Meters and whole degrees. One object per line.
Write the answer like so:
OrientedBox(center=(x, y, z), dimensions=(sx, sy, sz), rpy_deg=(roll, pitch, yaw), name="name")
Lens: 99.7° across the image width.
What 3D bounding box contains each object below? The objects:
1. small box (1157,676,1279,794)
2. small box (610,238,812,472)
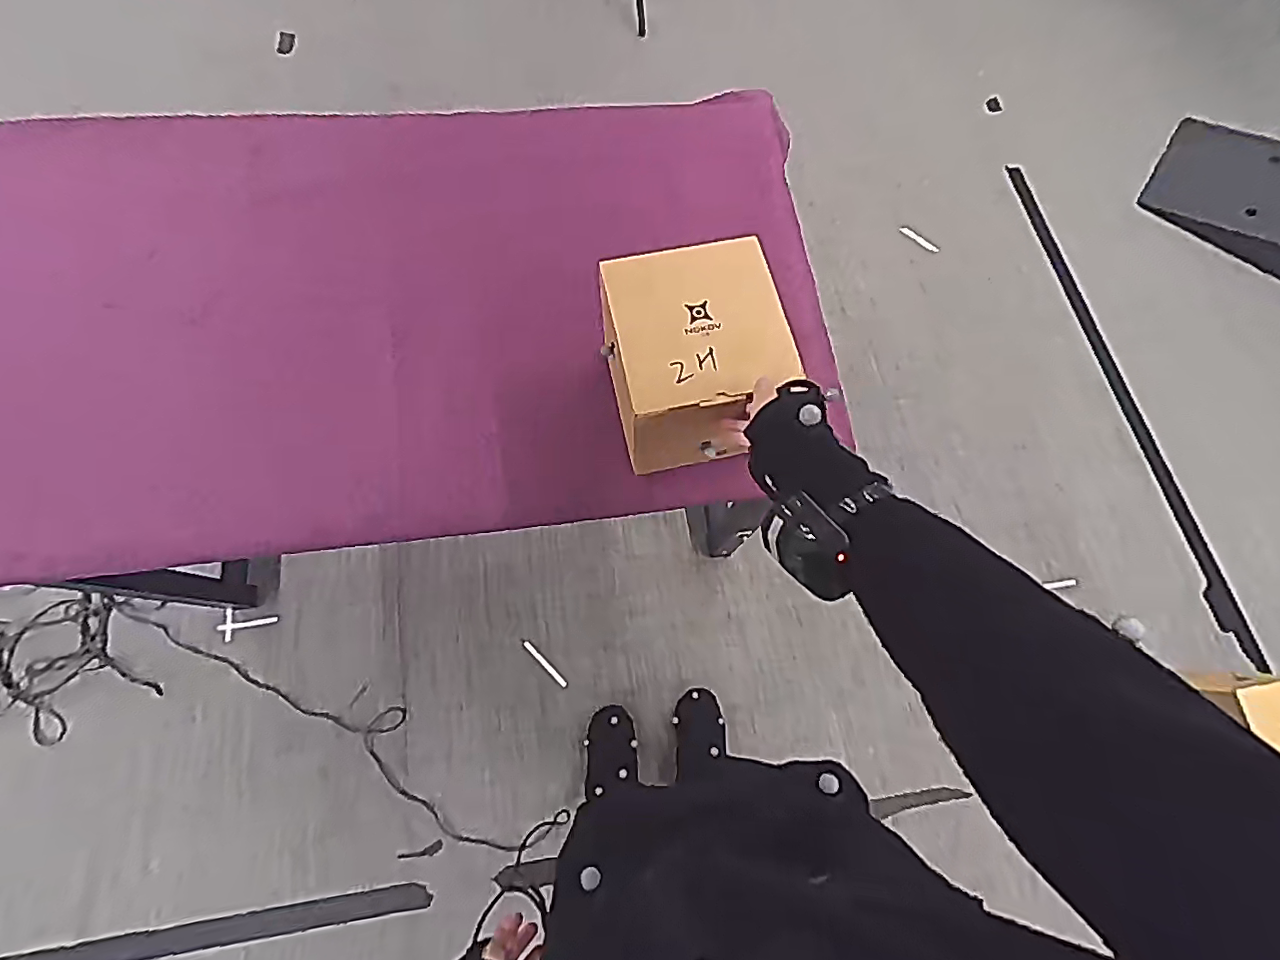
OrientedBox(center=(1.173, 0.482, 1.046), dimensions=(0.168, 0.176, 0.179), rpy_deg=(-8, 74, -5), name="small box")
OrientedBox(center=(0.061, -0.127, 0.592), dimensions=(0.168, 0.176, 0.179), rpy_deg=(-11, 72, -4), name="small box")
